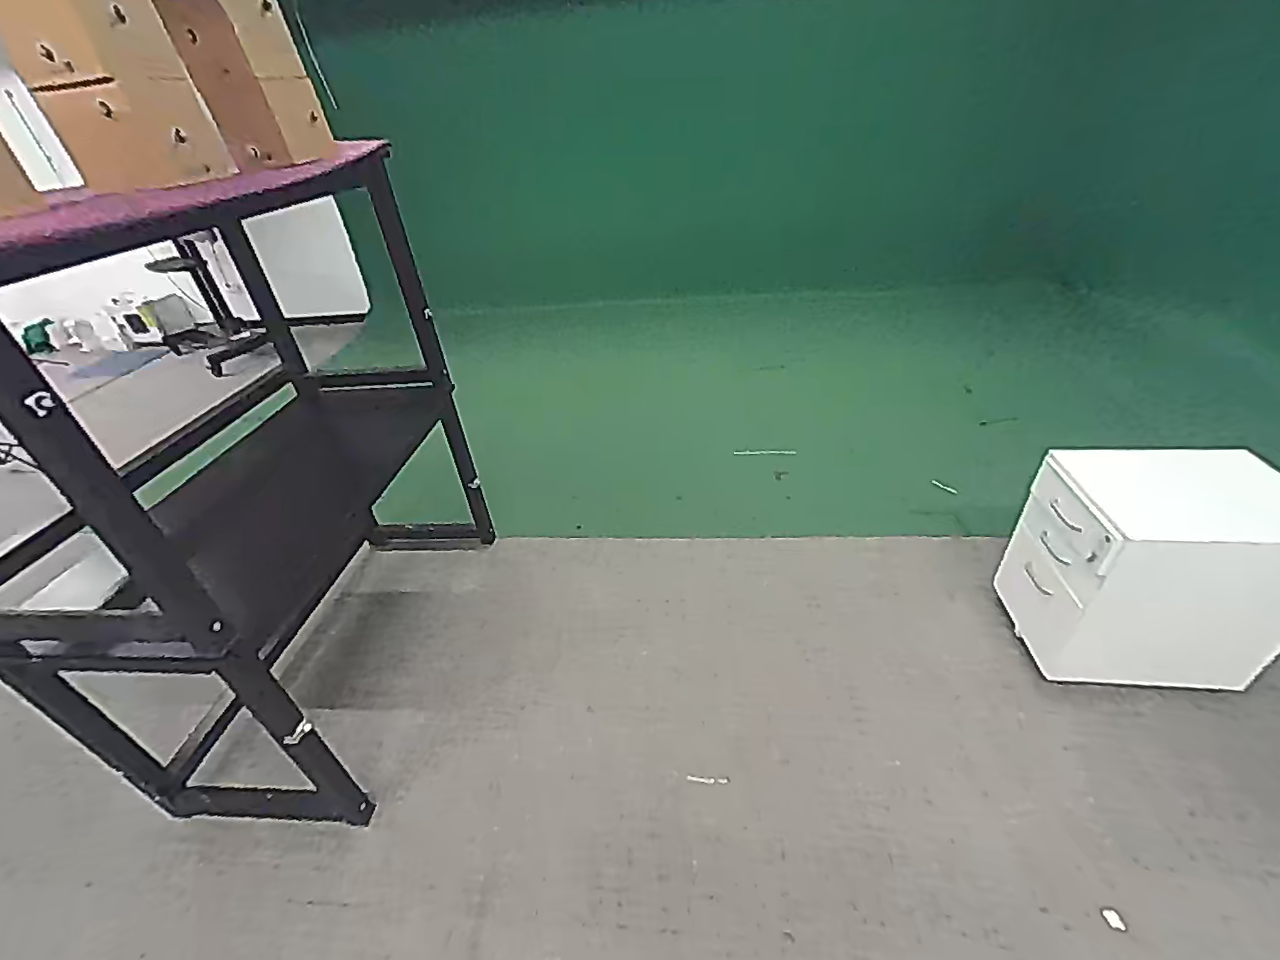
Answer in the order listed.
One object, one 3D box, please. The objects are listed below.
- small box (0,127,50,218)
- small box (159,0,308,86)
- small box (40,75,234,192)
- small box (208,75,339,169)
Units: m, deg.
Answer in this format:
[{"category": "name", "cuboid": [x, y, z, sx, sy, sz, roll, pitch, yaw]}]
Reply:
[{"category": "small box", "cuboid": [-0.954, -0.421, 0.696, 0.168, 0.176, 0.179, -3, 35, 2]}, {"category": "small box", "cuboid": [-0.898, -0.994, 1.216, 0.168, 0.176, 0.179, 2, 37, 15]}, {"category": "small box", "cuboid": [-0.941, -0.662, 1.036, 0.179, 0.176, 0.168, -1, 35, 7]}, {"category": "small box", "cuboid": [-0.871, -0.866, 1.312, 0.168, 0.176, 0.179, 0, 38, 13]}]
